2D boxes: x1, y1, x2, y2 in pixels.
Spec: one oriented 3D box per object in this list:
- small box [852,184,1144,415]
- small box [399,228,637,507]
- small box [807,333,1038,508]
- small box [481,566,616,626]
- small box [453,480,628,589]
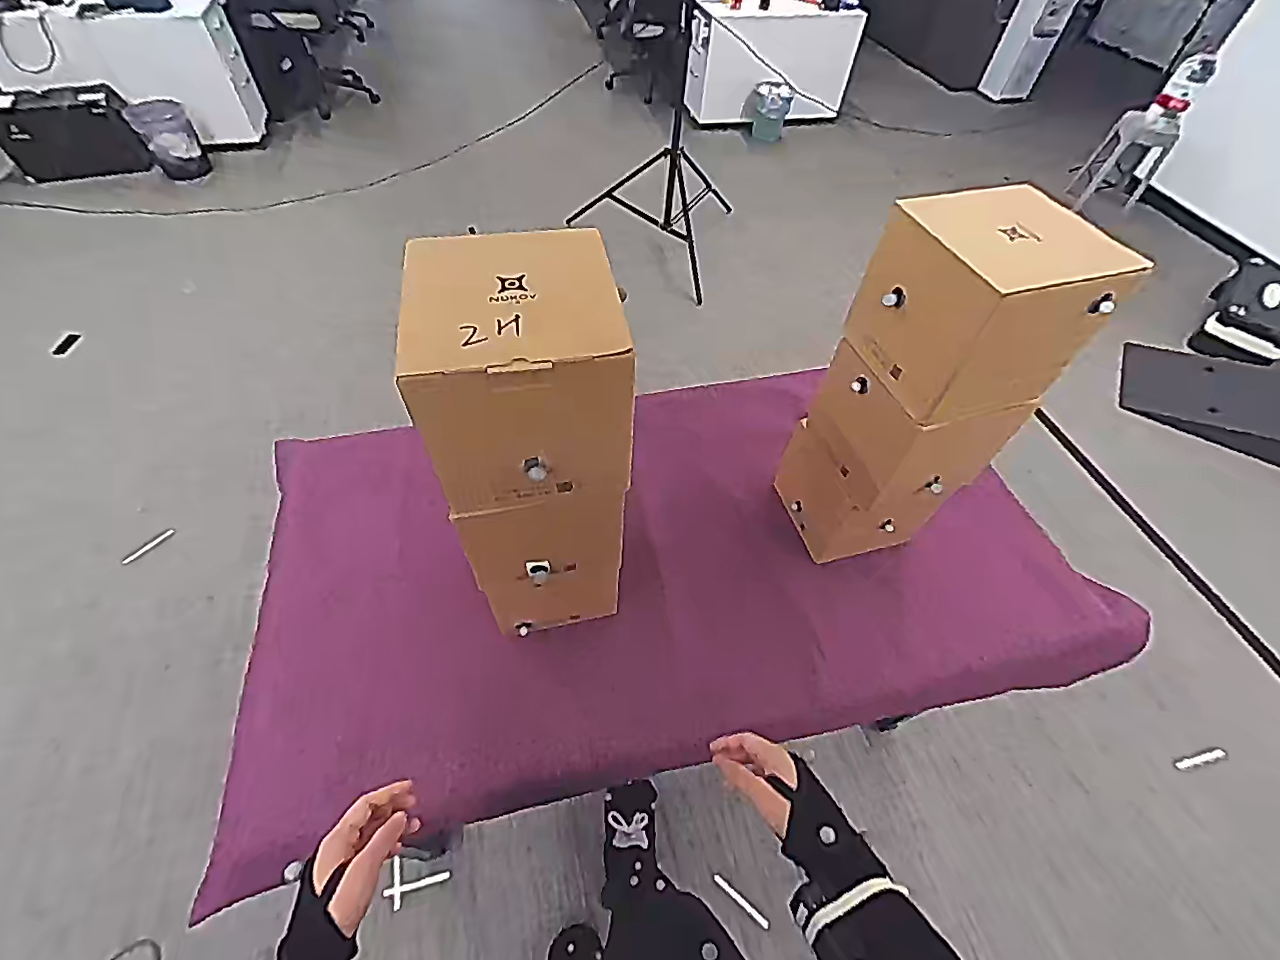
[{"bbox_3d":[0.357,-0.191,0.587,0.179,0.176,0.168,-14,55,-13],"label":"small box"},{"bbox_3d":[-0.102,-0.100,0.487,0.168,0.176,0.179,-8,54,-8],"label":"small box"},{"bbox_3d":[0.352,-0.087,0.713,0.179,0.176,0.168,-14,55,-14],"label":"small box"},{"bbox_3d":[-0.128,0.088,0.755,0.168,0.176,0.179,-10,54,-11],"label":"small box"},{"bbox_3d":[-0.114,0.000,0.618,0.168,0.176,0.179,-10,55,-10],"label":"small box"}]
